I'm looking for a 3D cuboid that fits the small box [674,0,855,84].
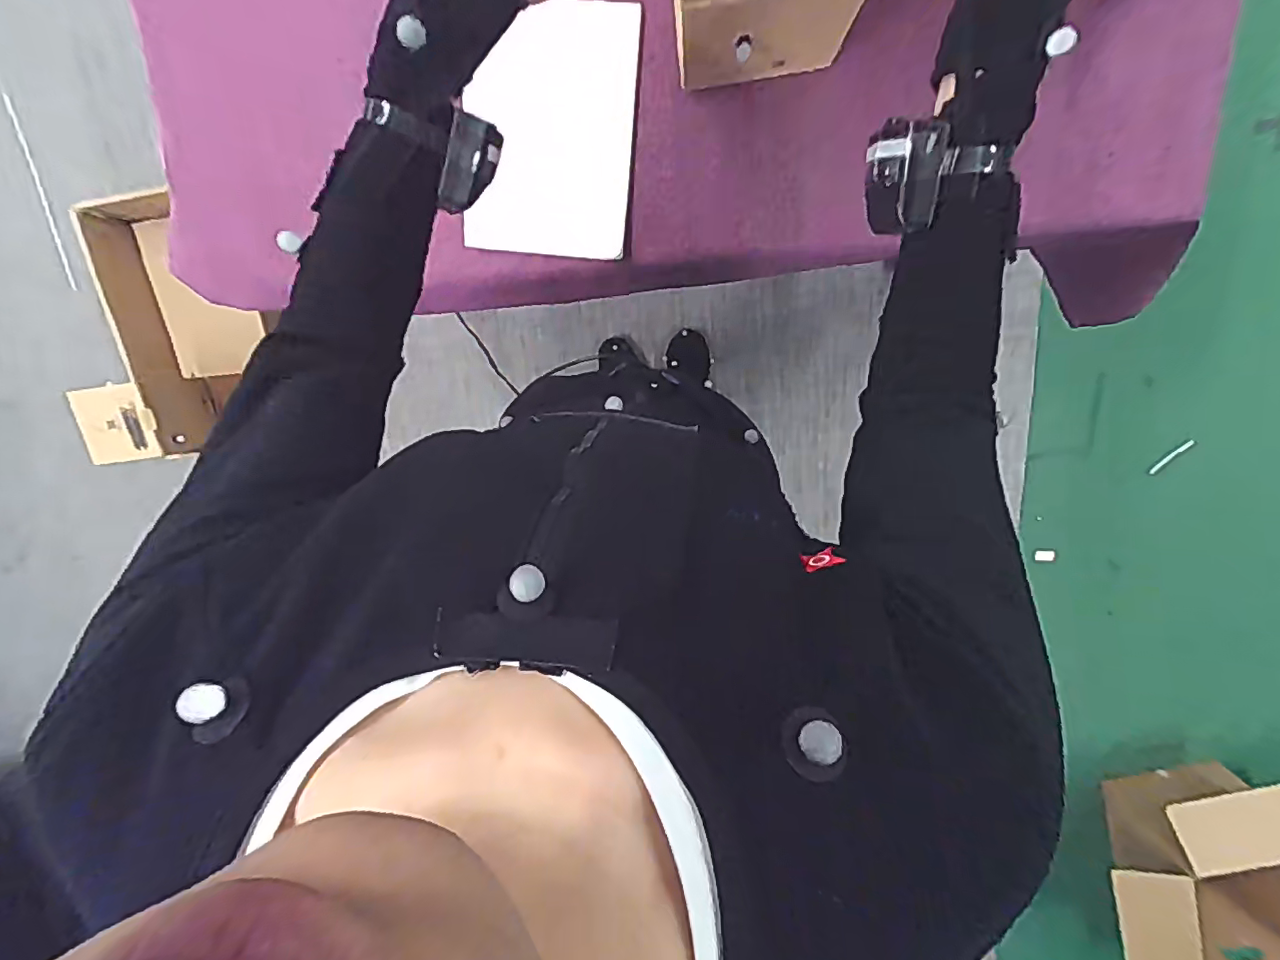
[{"bbox_3d":[0.113,-0.509,0.510,0.168,0.176,0.179,-5,104,7],"label":"small box"}]
